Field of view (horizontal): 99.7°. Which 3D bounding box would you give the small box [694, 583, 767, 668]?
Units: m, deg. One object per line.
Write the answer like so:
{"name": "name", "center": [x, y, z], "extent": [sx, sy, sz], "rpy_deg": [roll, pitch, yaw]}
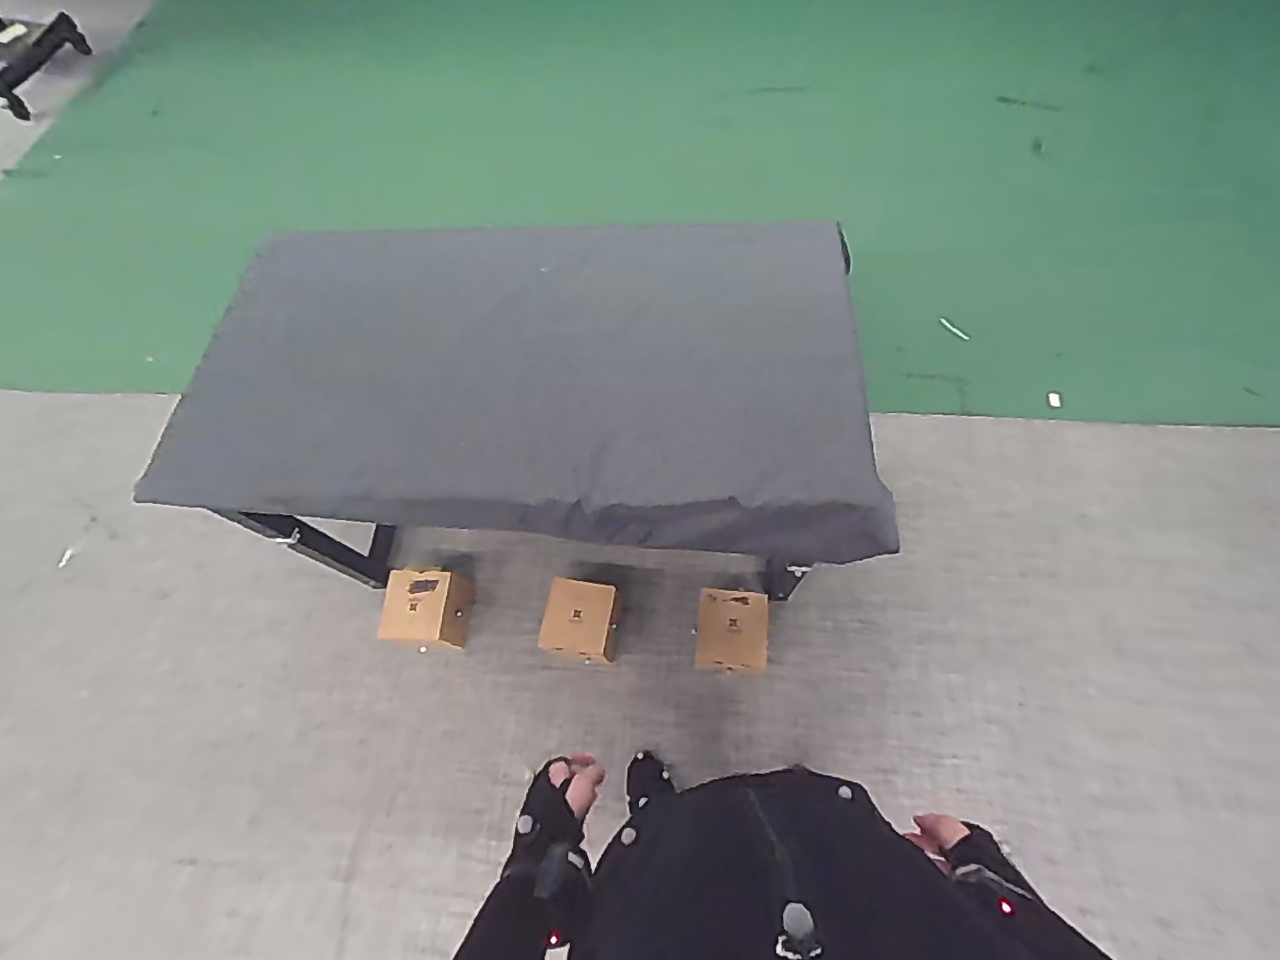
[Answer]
{"name": "small box", "center": [0.225, 0.373, 1.368], "extent": [0.168, 0.176, 0.179], "rpy_deg": [5, 65, 7]}

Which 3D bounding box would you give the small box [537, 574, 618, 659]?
{"name": "small box", "center": [-0.153, 0.360, 1.402], "extent": [0.168, 0.176, 0.179], "rpy_deg": [7, 66, 6]}

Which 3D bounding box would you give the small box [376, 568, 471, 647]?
{"name": "small box", "center": [-0.565, 0.342, 1.438], "extent": [0.168, 0.176, 0.179], "rpy_deg": [0, 67, 5]}
